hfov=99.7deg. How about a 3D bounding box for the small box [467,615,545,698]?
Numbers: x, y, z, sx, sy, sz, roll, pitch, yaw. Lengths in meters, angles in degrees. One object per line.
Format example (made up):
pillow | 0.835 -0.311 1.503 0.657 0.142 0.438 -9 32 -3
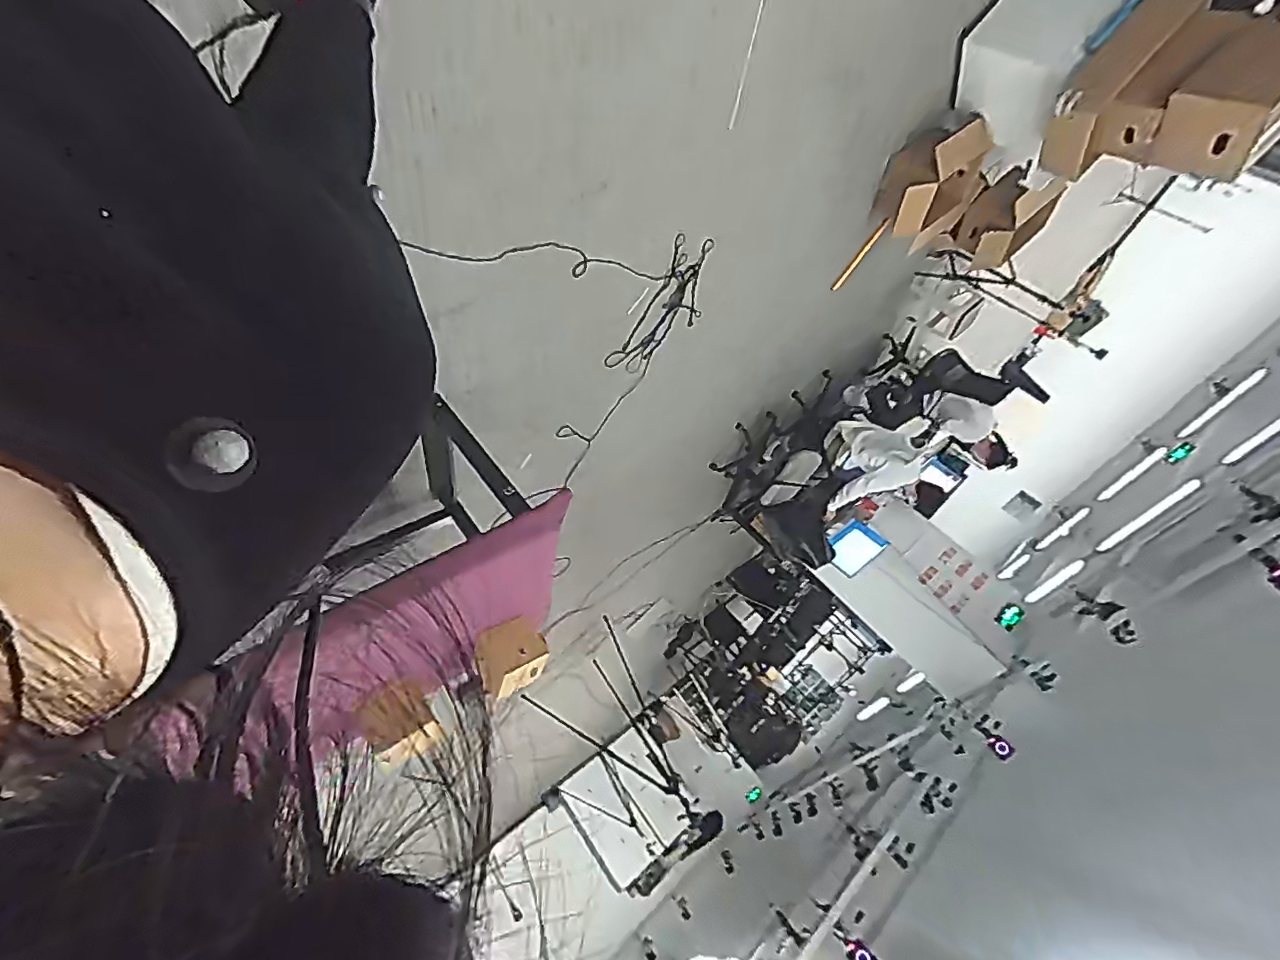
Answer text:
small box | -0.449 0.581 1.806 0.179 0.176 0.168 -17 143 -42

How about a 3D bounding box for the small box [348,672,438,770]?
small box | -0.721 0.701 1.586 0.179 0.176 0.168 -28 149 -32
